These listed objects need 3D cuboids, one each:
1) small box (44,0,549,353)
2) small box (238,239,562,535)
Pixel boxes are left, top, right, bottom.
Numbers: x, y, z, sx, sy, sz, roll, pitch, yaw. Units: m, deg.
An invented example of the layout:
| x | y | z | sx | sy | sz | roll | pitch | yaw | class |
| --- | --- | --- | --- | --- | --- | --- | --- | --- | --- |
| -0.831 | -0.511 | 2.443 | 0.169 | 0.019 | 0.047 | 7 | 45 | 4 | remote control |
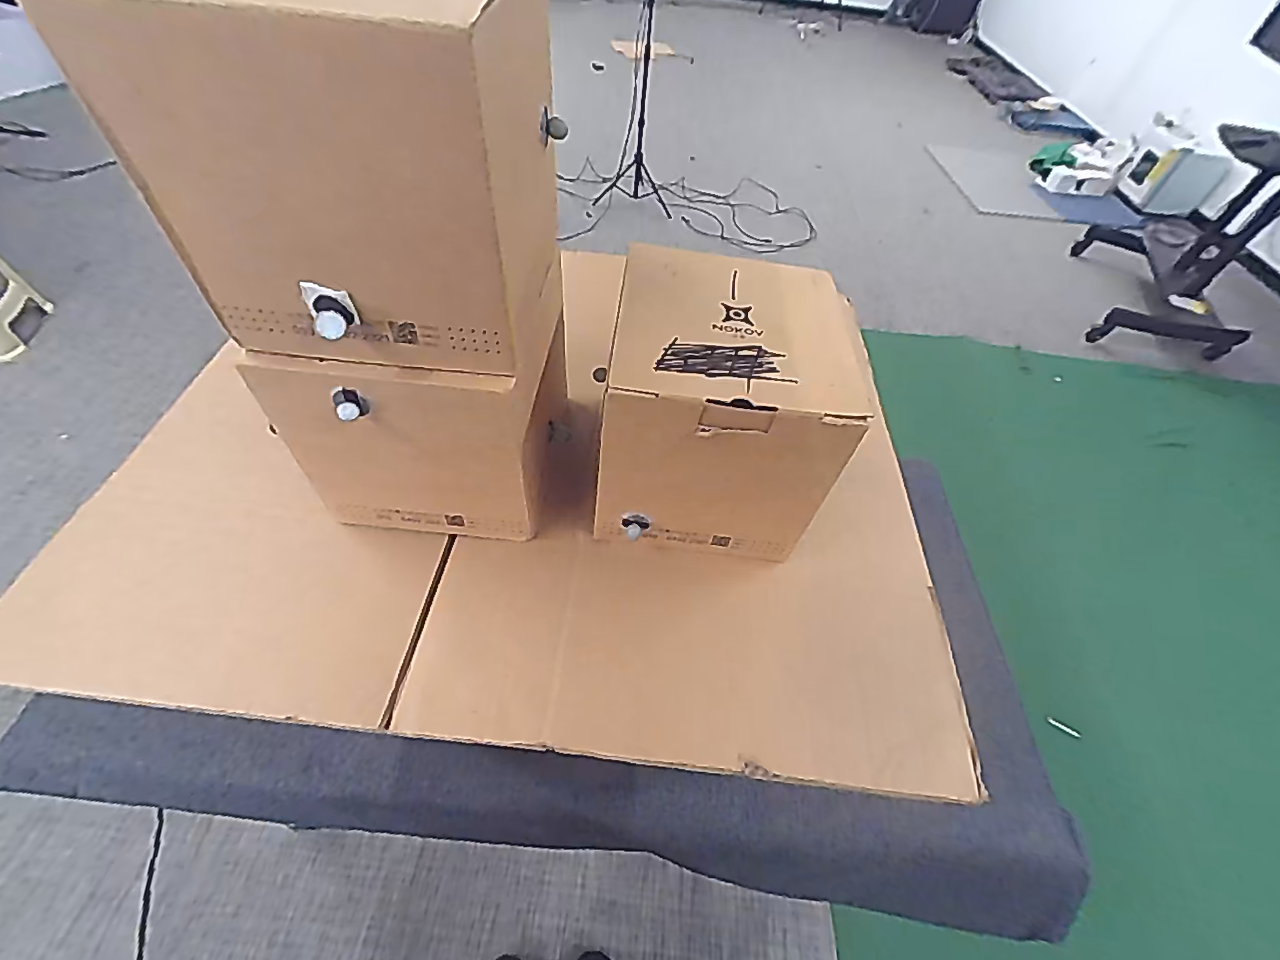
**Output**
| x | y | z | sx | sy | sz | roll | pitch | yaw | class |
| --- | --- | --- | --- | --- | --- | --- | --- | --- | --- |
| -0.145 | -0.196 | 0.300 | 0.168 | 0.176 | 0.179 | 4 | 53 | -2 | small box |
| -0.158 | -0.080 | 0.434 | 0.168 | 0.176 | 0.179 | 6 | 51 | 0 | small box |
